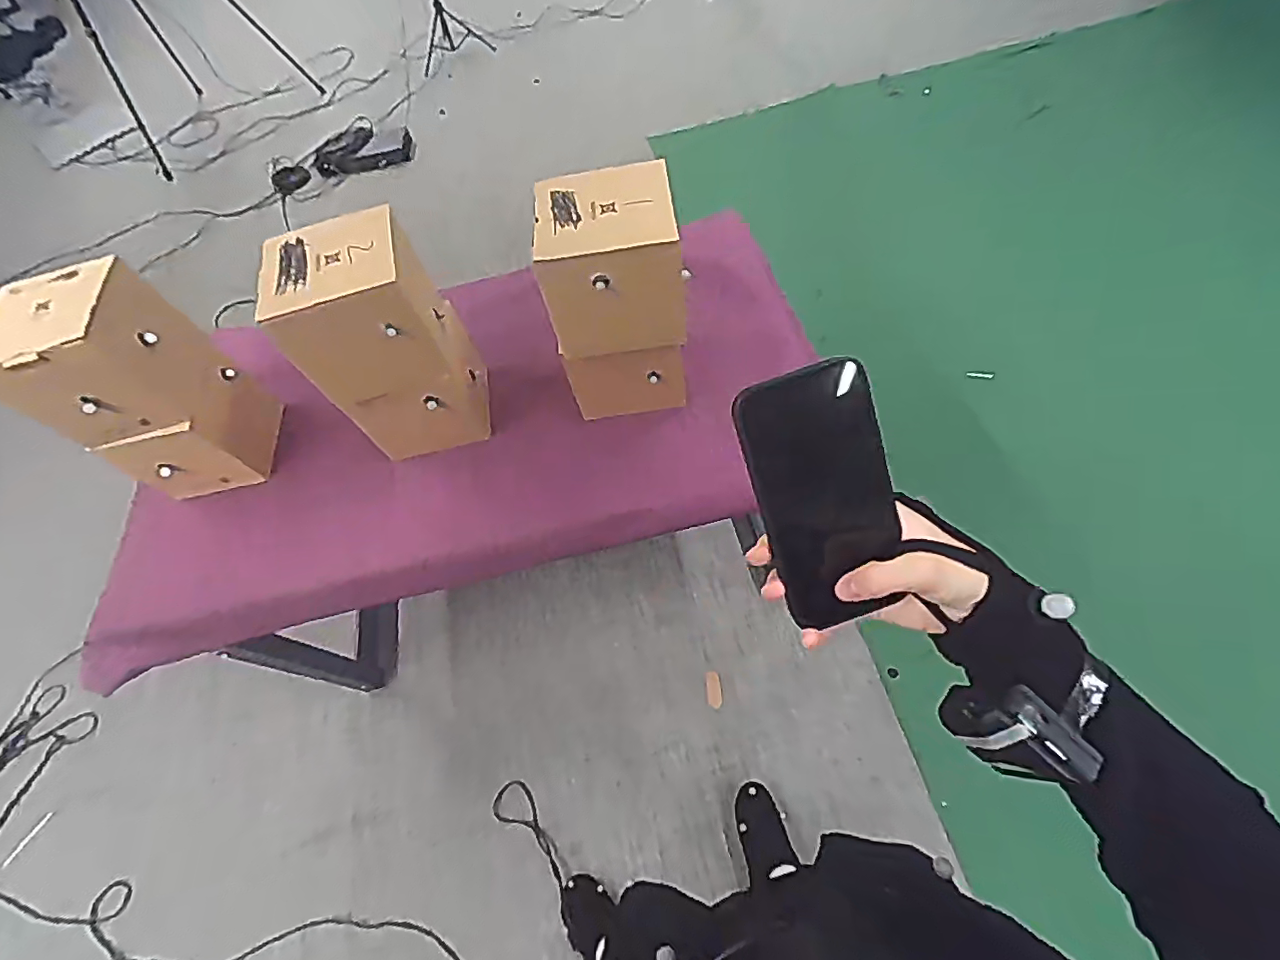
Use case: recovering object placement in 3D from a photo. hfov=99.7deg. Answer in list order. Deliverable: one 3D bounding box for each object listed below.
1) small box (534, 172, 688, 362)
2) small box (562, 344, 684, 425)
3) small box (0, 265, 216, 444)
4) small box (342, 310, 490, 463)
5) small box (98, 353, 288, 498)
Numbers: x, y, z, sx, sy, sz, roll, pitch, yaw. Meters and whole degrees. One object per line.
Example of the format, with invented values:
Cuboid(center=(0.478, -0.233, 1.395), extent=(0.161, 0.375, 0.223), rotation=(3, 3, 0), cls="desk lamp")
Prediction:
Cuboid(center=(-0.033, -0.280, 0.737), extent=(0.179, 0.176, 0.168), rotation=(-7, 59, 4), cls="small box")
Cuboid(center=(-0.022, -0.210, 0.886), extent=(0.179, 0.176, 0.168), rotation=(-7, 59, 5), cls="small box")
Cuboid(center=(-0.766, -0.172, 0.787), extent=(0.168, 0.176, 0.179), rotation=(-16, 60, -1), cls="small box")
Cuboid(center=(-0.357, -0.149, 0.901), extent=(0.179, 0.176, 0.168), rotation=(-12, 59, 2), cls="small box")
Cuboid(center=(-0.742, -0.083, 0.923), extent=(0.168, 0.176, 0.179), rotation=(-12, 59, 2), cls="small box")
